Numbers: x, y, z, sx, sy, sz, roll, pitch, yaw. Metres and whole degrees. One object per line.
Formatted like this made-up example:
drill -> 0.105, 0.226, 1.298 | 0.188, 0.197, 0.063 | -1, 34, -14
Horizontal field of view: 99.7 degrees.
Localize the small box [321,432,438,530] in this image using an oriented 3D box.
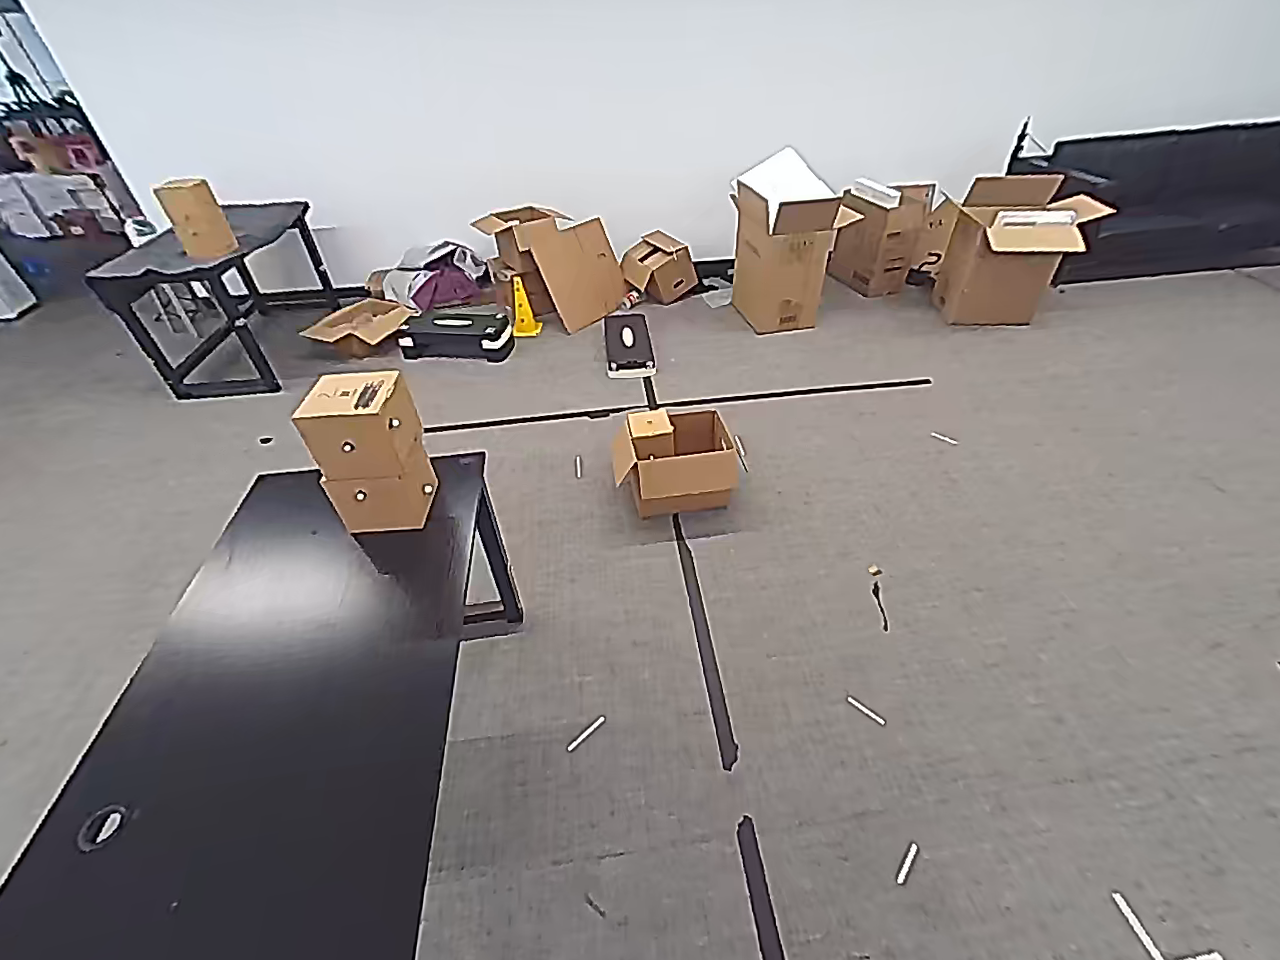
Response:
small box -> -0.606, 0.005, 1.283 | 0.179, 0.176, 0.168 | -3, 42, 0
